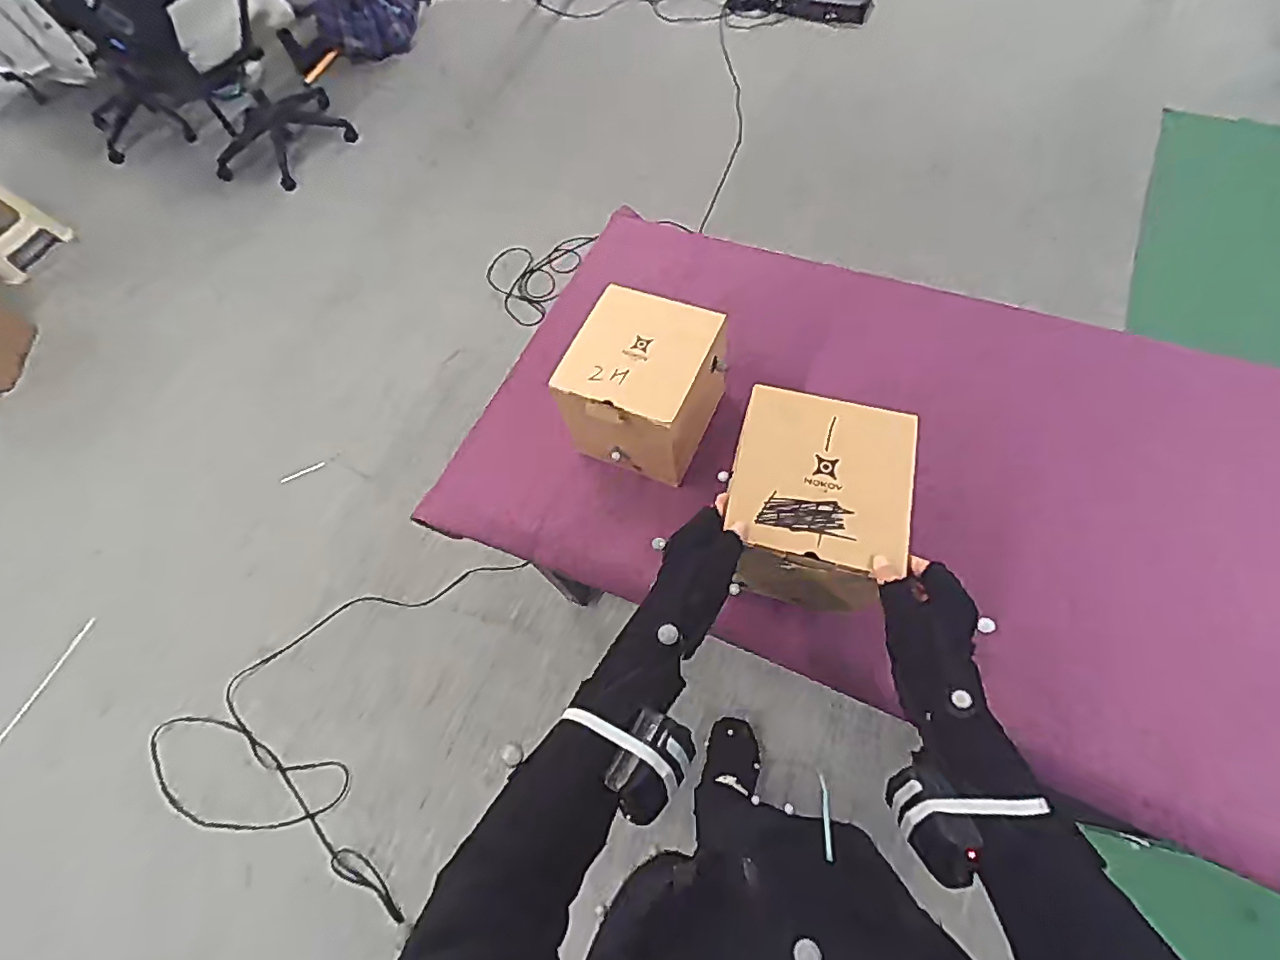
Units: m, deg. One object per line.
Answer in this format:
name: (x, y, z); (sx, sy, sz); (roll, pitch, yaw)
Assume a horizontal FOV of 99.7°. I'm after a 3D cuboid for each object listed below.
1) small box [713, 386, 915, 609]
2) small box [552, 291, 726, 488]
small box: (0.178, 0.028, 0.593); (0.168, 0.176, 0.179); (13, 66, 9)
small box: (0.008, -0.118, 0.736); (0.168, 0.176, 0.179); (20, 69, 17)
